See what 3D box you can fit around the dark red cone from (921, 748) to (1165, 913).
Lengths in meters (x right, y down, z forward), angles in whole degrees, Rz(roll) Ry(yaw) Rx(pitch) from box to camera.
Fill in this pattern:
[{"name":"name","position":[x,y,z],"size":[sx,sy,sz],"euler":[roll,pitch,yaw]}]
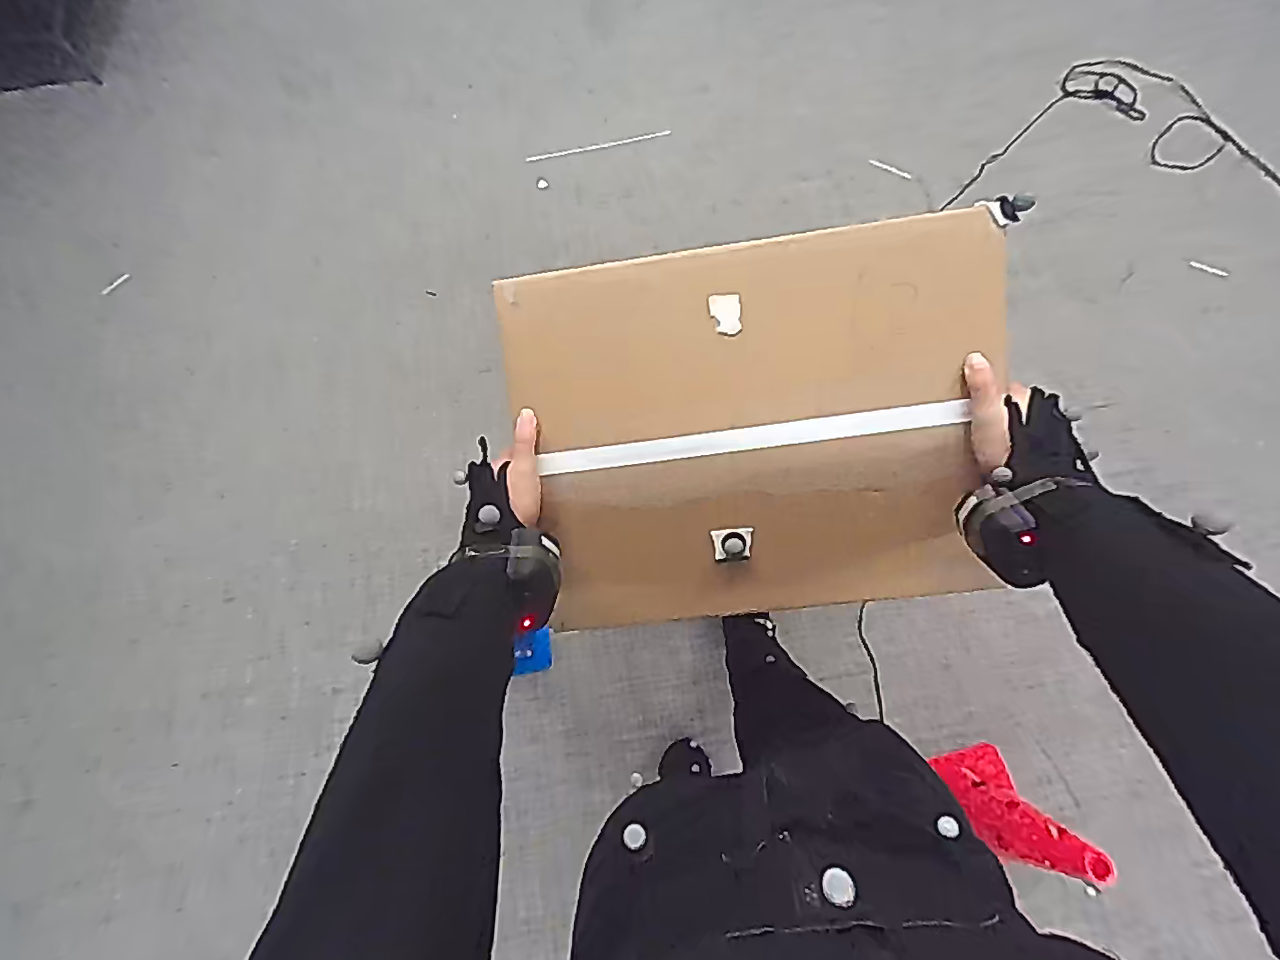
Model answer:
[{"name":"dark red cone","position":[0.643,0.579,0.859],"size":[0.202,0.394,0.201],"euler":[-17,72,-2]}]

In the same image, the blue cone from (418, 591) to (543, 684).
[{"name":"blue cone","position":[-0.332,0.296,1.083],"size":[0.192,0.380,0.193],"euler":[-10,68,1]}]
